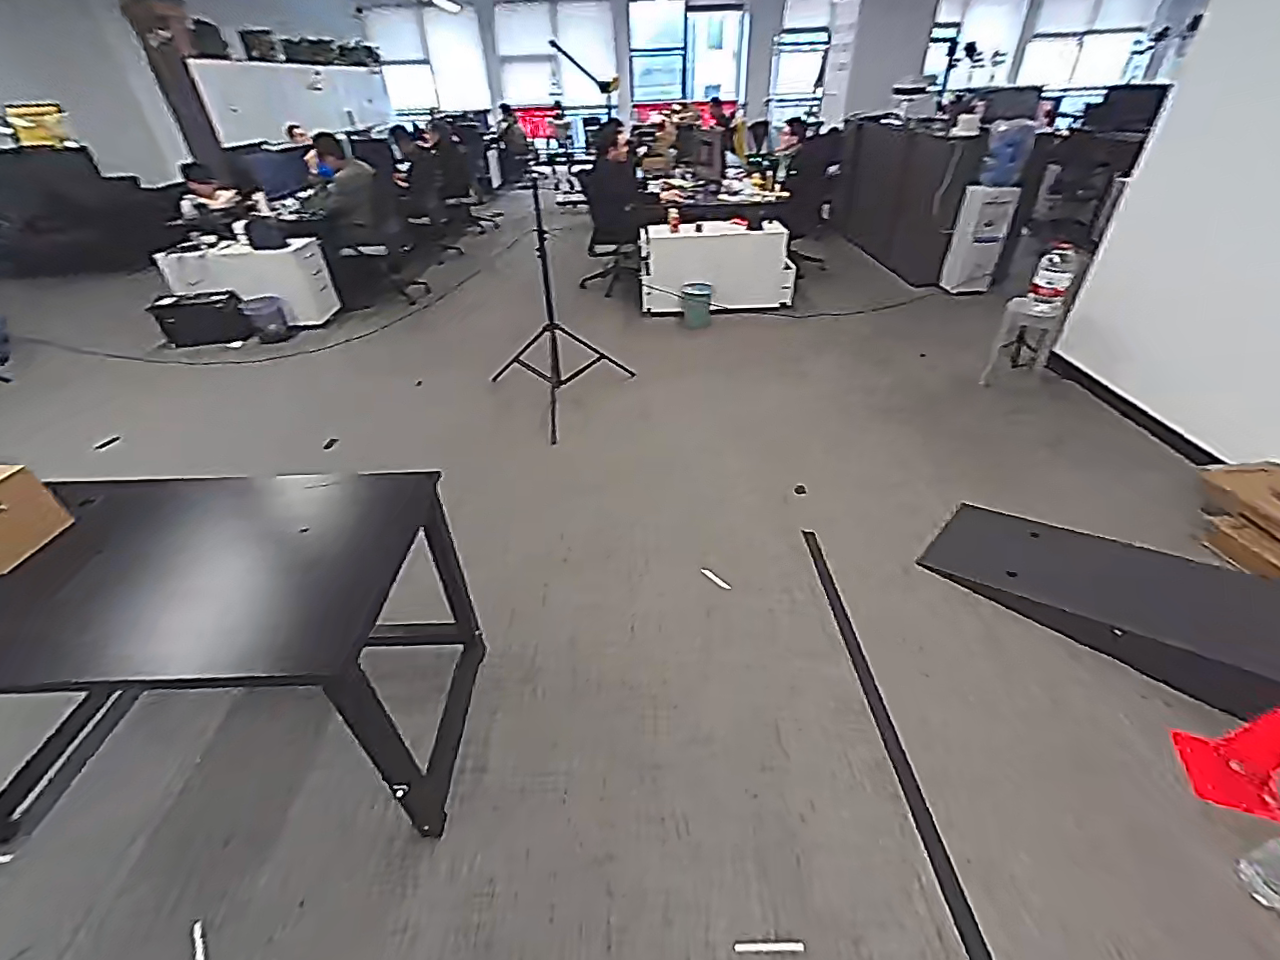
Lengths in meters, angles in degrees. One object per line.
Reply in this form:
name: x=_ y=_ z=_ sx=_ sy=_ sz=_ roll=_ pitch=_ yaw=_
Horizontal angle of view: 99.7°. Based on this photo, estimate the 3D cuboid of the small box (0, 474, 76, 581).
small box: x=-1.424 y=0.105 z=1.183 sx=0.168 sy=0.176 sz=0.179 roll=0 pitch=36 yaw=3
